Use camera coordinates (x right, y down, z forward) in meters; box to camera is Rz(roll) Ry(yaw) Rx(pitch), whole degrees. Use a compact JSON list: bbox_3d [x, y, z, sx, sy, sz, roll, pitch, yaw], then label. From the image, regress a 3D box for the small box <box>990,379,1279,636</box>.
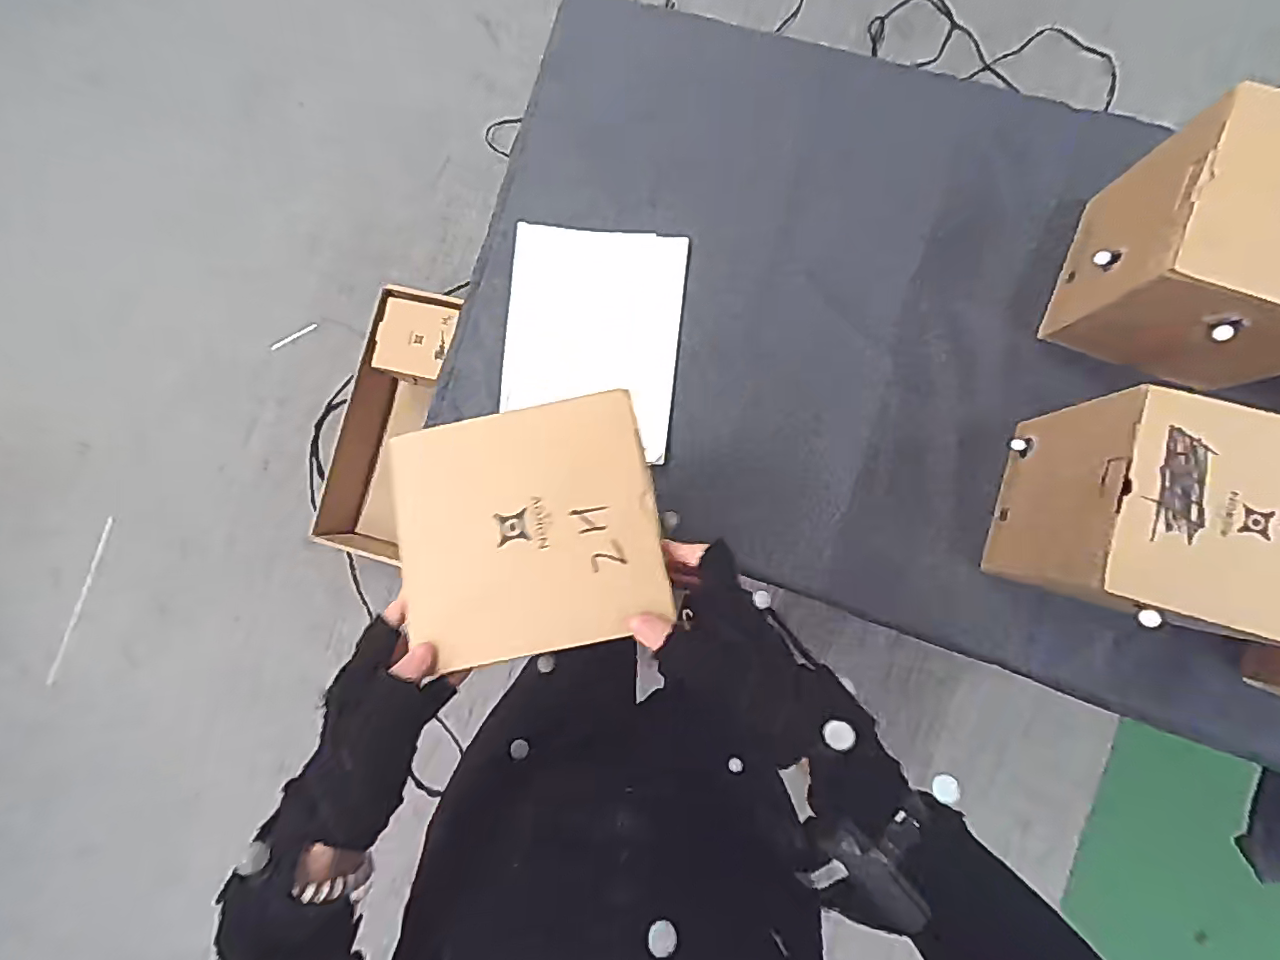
[{"bbox_3d":[0.456,0.030,0.481,0.179,0.176,0.168,16,87,6],"label":"small box"}]
